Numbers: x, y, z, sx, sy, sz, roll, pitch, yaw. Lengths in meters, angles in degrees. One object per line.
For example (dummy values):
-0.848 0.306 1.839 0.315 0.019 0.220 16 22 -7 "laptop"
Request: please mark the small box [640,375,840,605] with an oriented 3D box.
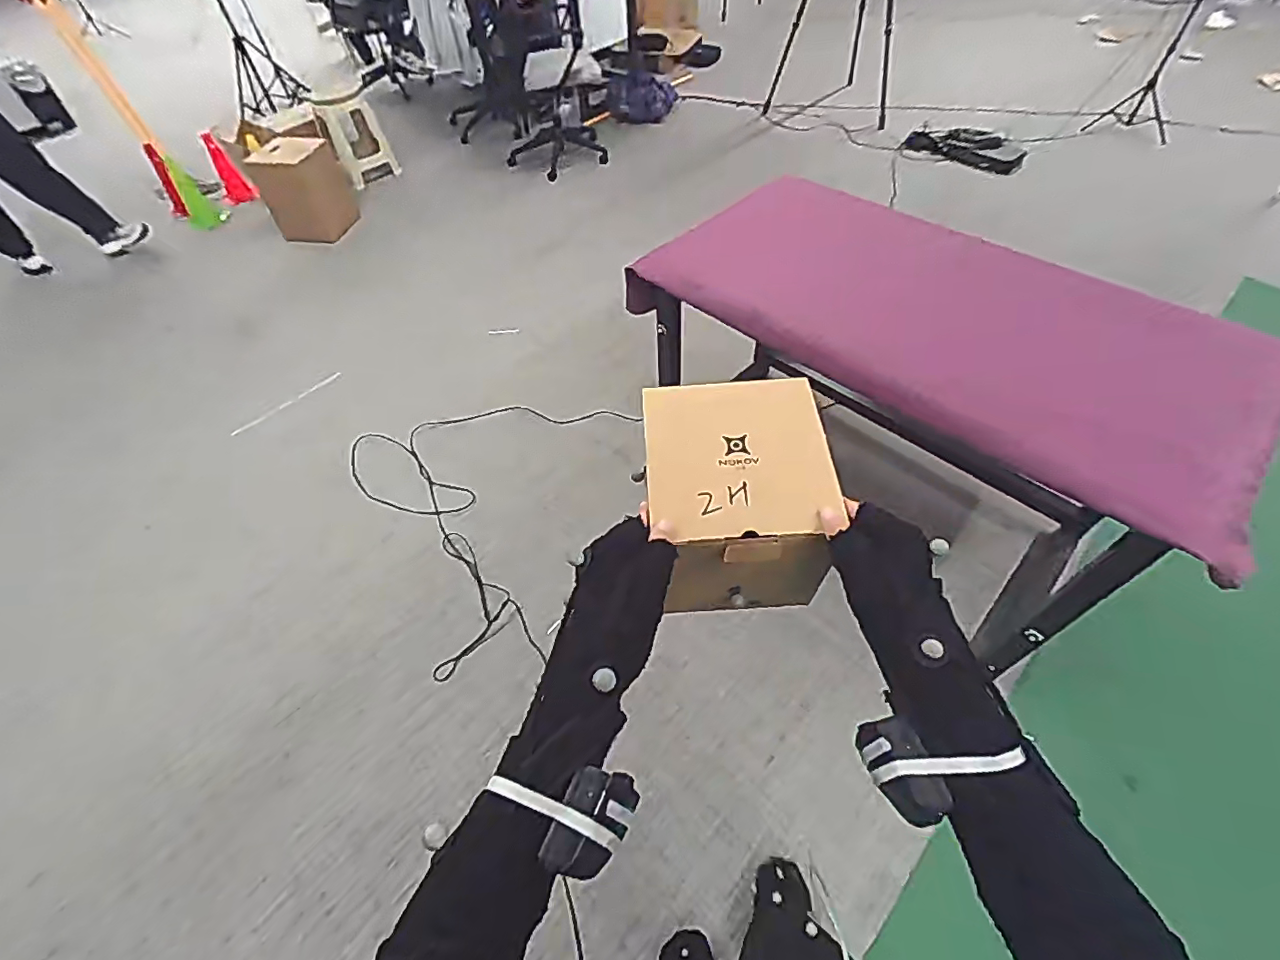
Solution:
0.086 0.015 0.561 0.168 0.176 0.179 -4 58 2 "small box"
